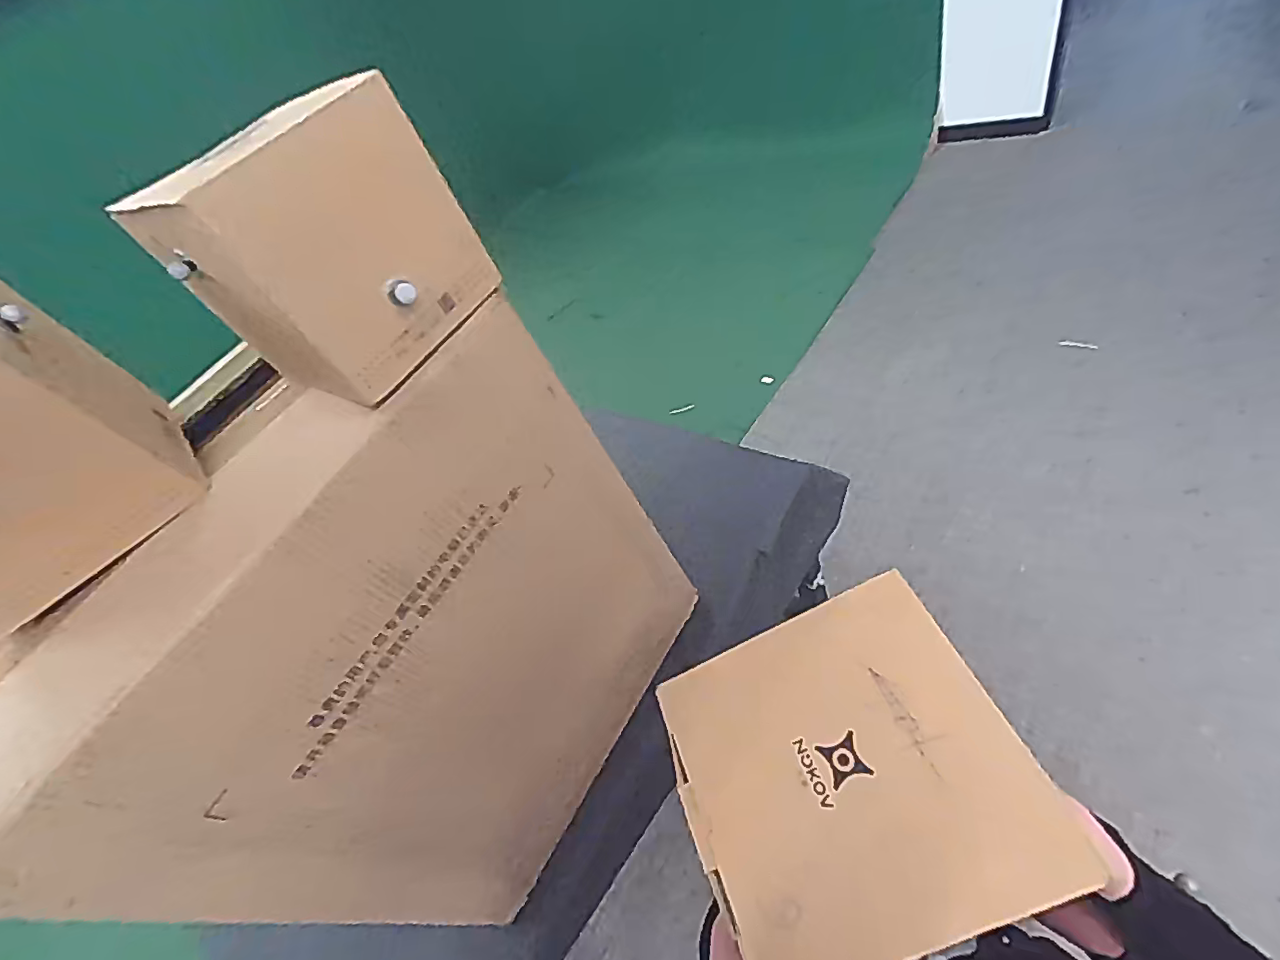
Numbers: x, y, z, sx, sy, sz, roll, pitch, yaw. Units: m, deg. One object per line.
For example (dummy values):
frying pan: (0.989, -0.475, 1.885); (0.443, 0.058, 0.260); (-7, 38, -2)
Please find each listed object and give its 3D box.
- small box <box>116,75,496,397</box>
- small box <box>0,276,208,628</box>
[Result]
small box: (-0.259, -0.189, 0.446); (0.179, 0.176, 0.168); (19, 62, 35)
small box: (-0.475, -0.023, 0.390); (0.179, 0.176, 0.168); (-43, 59, -14)
